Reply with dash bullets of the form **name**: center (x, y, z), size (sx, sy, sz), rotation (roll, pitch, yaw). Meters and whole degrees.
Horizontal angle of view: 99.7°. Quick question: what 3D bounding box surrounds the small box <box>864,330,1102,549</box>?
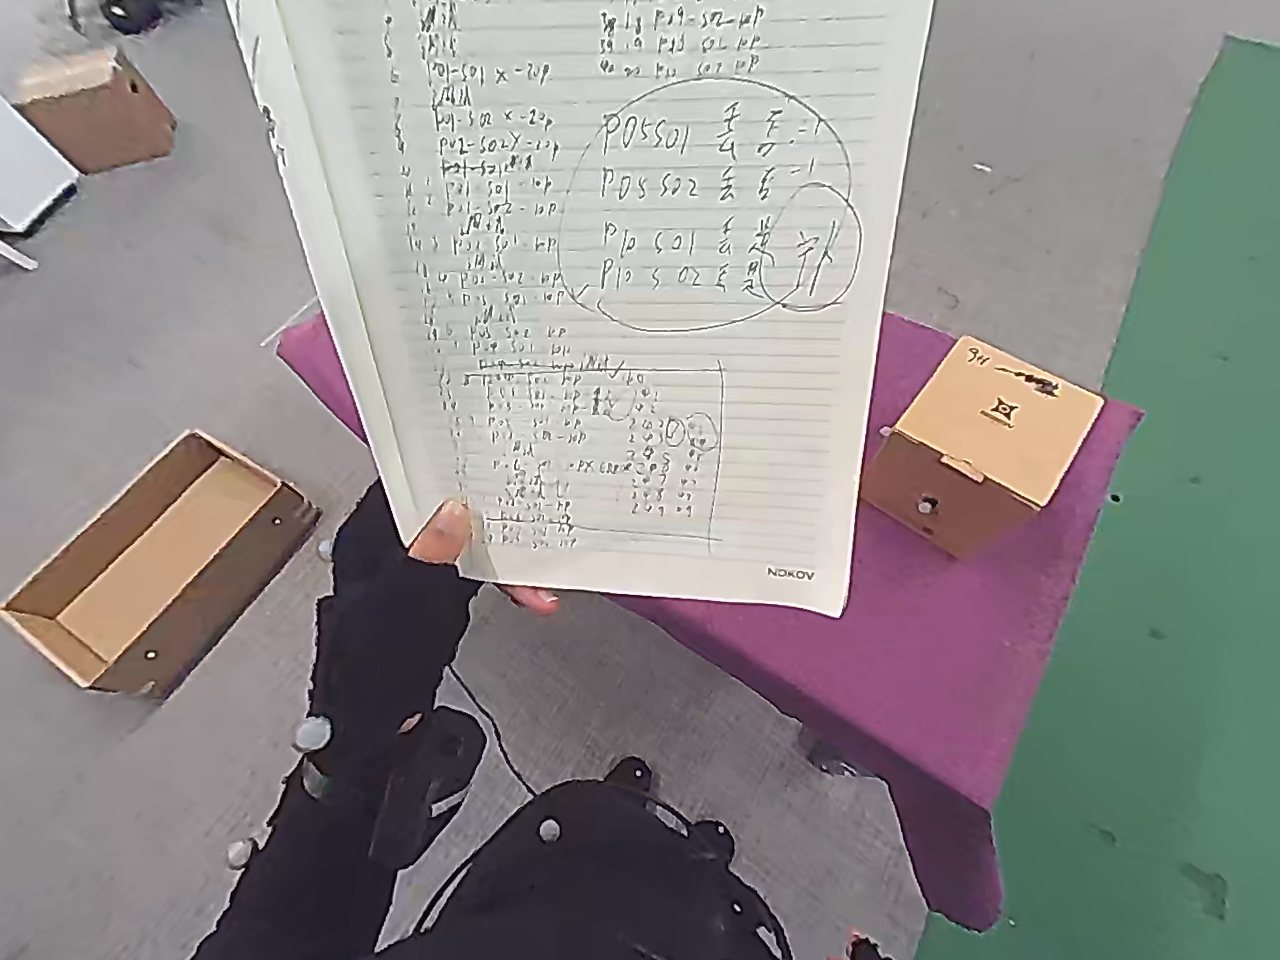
- **small box**: center (0.404, -0.042, 0.673), size (0.168, 0.176, 0.179), rotation (36, 72, 20)
